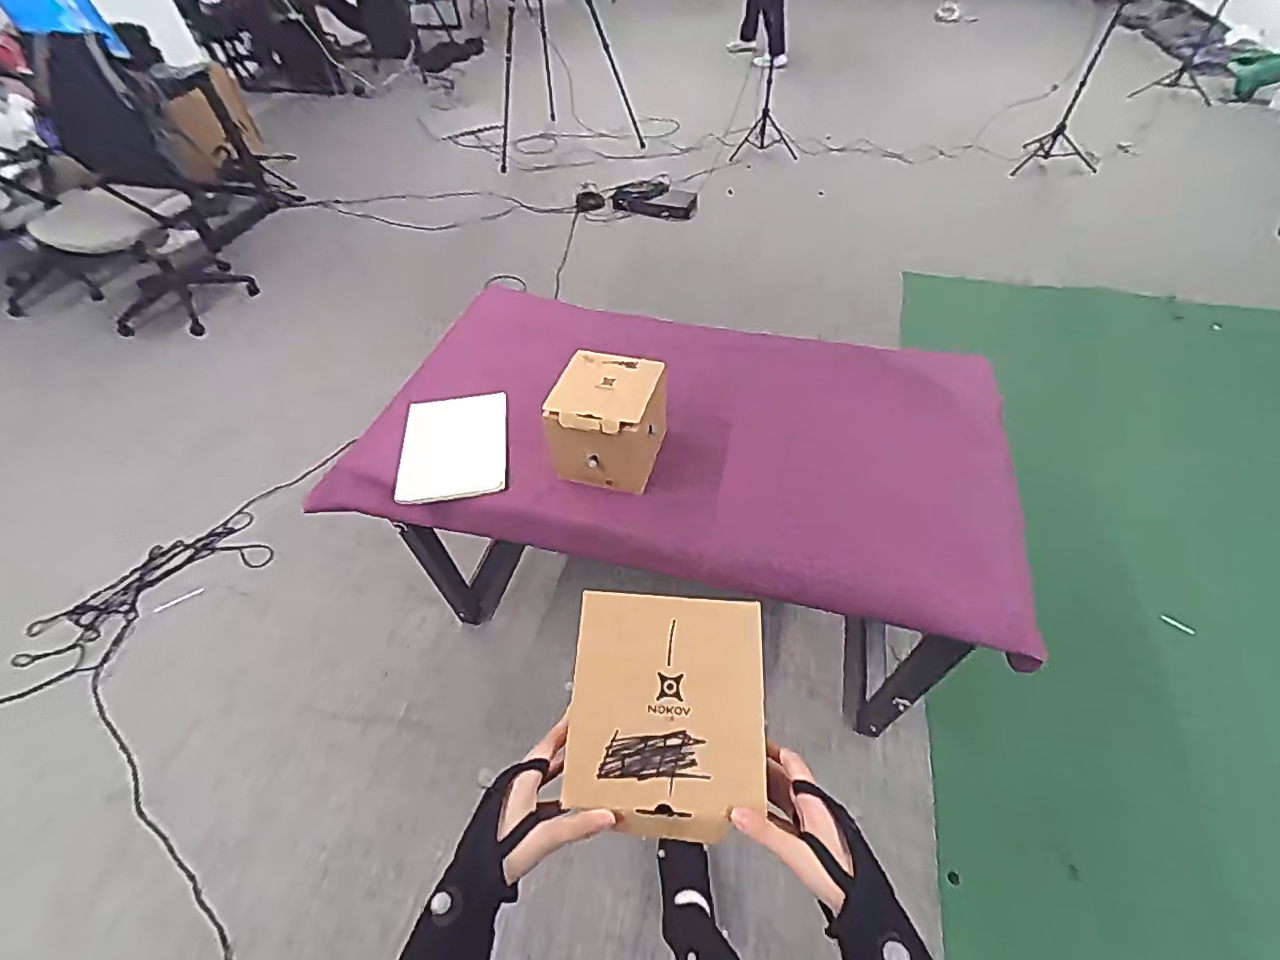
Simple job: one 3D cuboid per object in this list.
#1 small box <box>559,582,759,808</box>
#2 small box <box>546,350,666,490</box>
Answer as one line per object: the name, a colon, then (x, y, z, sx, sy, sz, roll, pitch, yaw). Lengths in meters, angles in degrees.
small box: (0.020, 0.213, 0.542, 0.168, 0.176, 0.179, 4, 64, 0)
small box: (-0.050, -0.105, 0.977, 0.168, 0.176, 0.179, 12, 53, 12)
